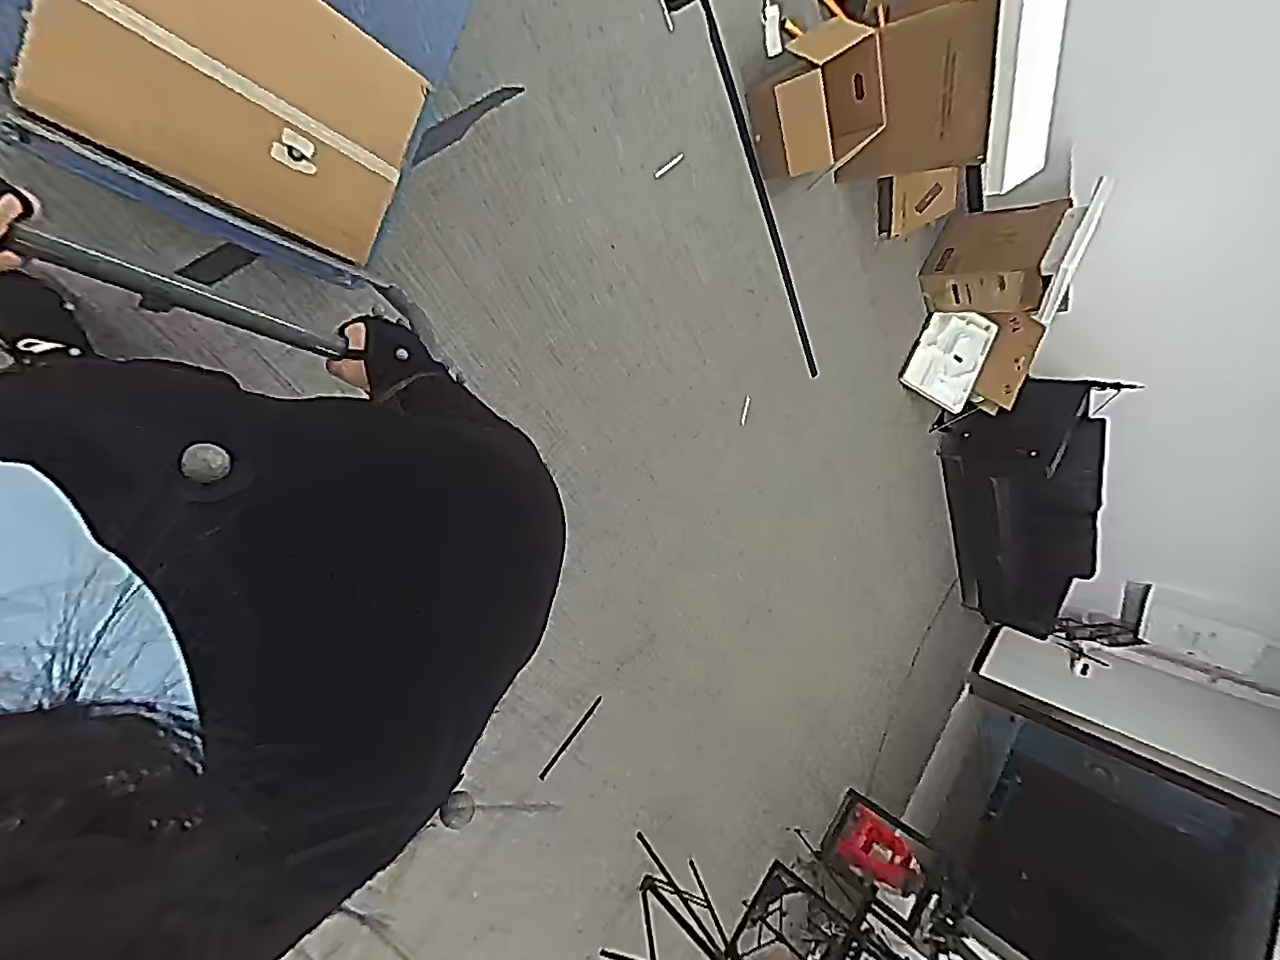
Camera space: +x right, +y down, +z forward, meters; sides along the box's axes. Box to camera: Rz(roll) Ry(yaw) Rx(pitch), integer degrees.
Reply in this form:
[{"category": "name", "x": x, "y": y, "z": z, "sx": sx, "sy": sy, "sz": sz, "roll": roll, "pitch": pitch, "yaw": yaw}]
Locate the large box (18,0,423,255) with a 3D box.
[{"category": "large box", "x": -0.640, "y": -0.617, "z": 0.863, "sx": 0.408, "sy": 0.320, "sz": 0.320, "roll": 17, "pitch": 103, "yaw": -45}]
